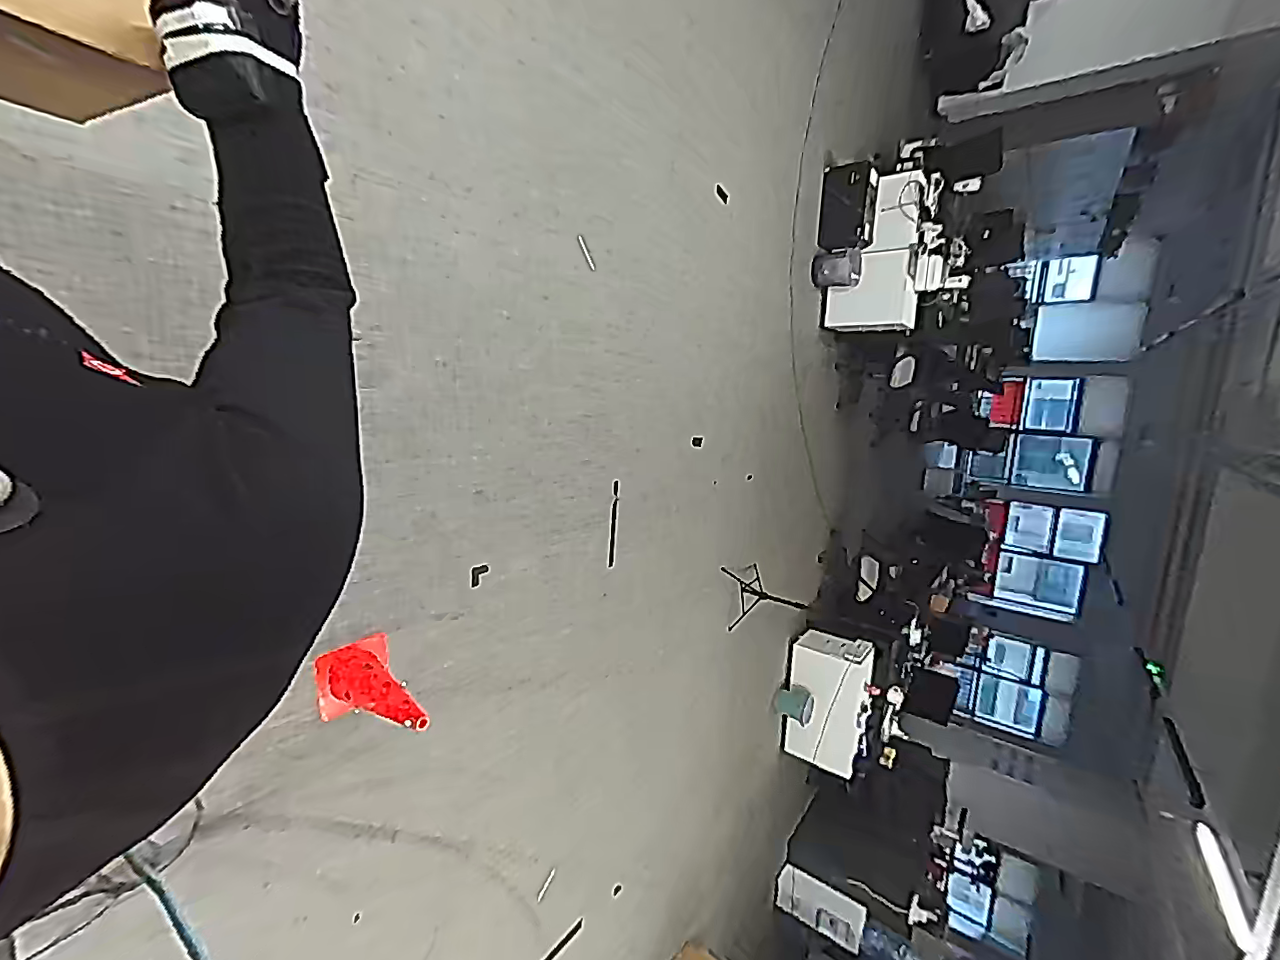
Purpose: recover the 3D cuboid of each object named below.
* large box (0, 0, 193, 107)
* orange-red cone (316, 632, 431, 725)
[{"bbox_3d":[-0.532,-0.458,0.269,0.408,0.320,0.320,-10,114,-56],"label":"large box"},{"bbox_3d":[-0.684,0.576,1.456,0.198,0.360,0.199,-14,107,-53],"label":"orange-red cone"}]
